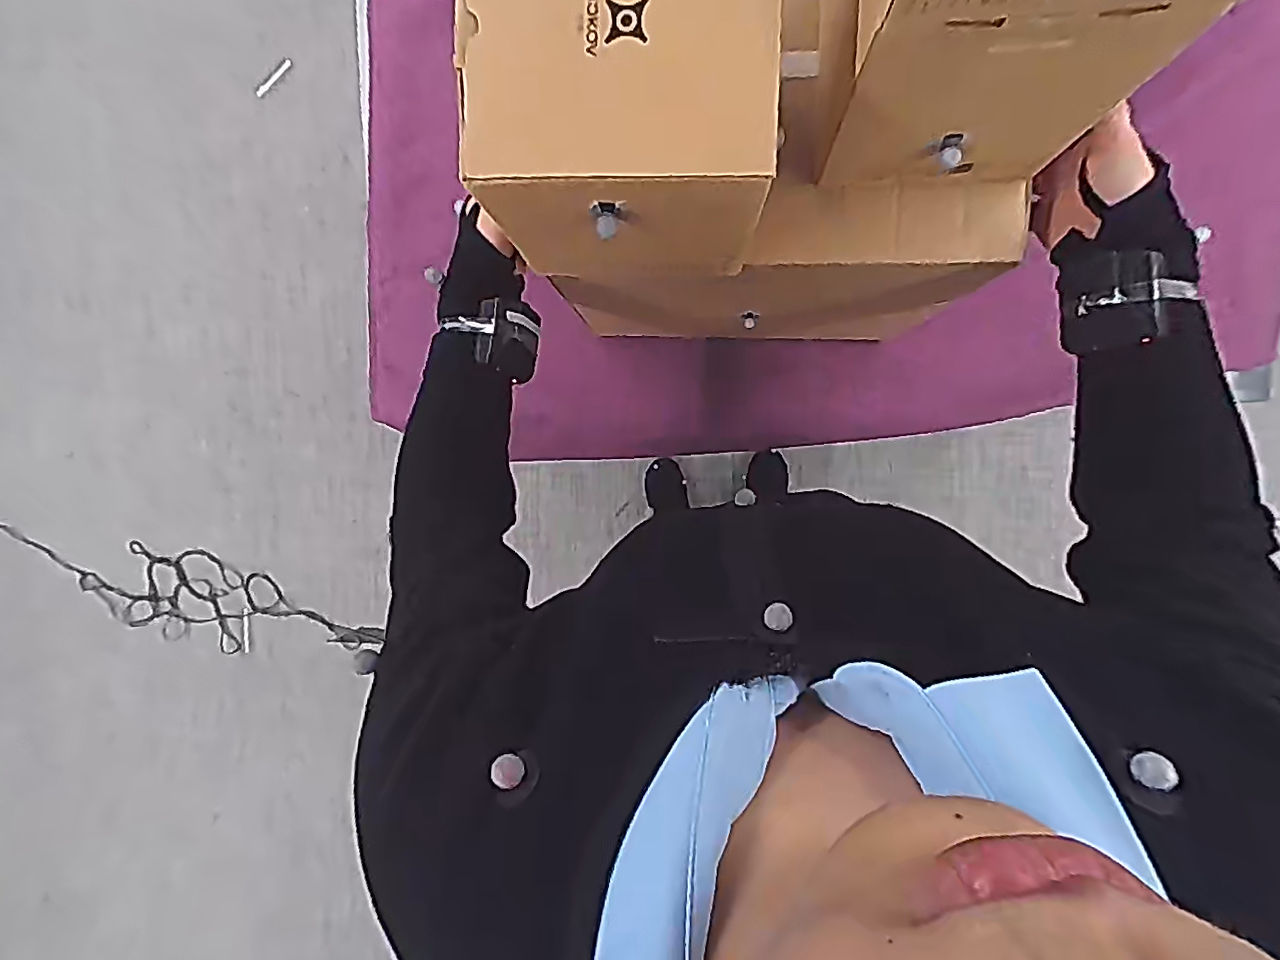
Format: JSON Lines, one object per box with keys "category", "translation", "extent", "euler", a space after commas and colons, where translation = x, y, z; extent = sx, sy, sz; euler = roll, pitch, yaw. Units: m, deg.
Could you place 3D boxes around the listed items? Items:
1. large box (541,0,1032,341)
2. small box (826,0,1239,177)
{"category": "large box", "translation": [0.130, -0.337, 0.590], "extent": [0.408, 0.320, 0.320], "euler": [1, 92, 6]}
{"category": "small box", "translation": [0.218, -0.319, 0.334], "extent": [0.168, 0.176, 0.179], "euler": [1, 93, 7]}
